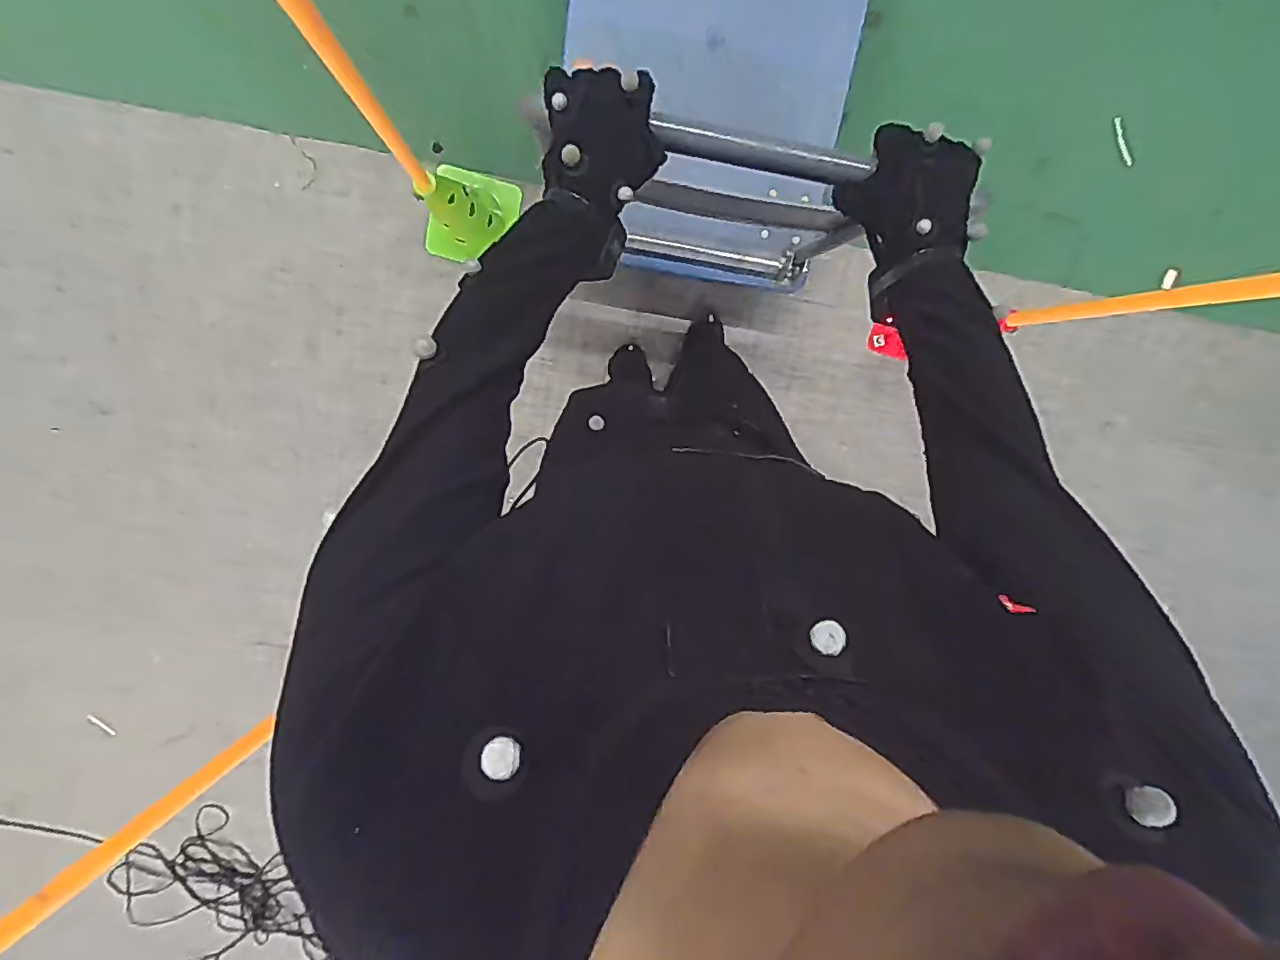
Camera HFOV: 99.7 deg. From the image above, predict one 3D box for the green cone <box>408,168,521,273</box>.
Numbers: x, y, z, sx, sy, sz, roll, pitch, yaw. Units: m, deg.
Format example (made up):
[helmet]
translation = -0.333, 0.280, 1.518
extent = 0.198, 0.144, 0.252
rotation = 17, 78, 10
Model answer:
[green cone]
translation = -0.390, -0.573, 1.125
extent = 0.202, 0.368, 0.200
rotation = 14, 104, -6
